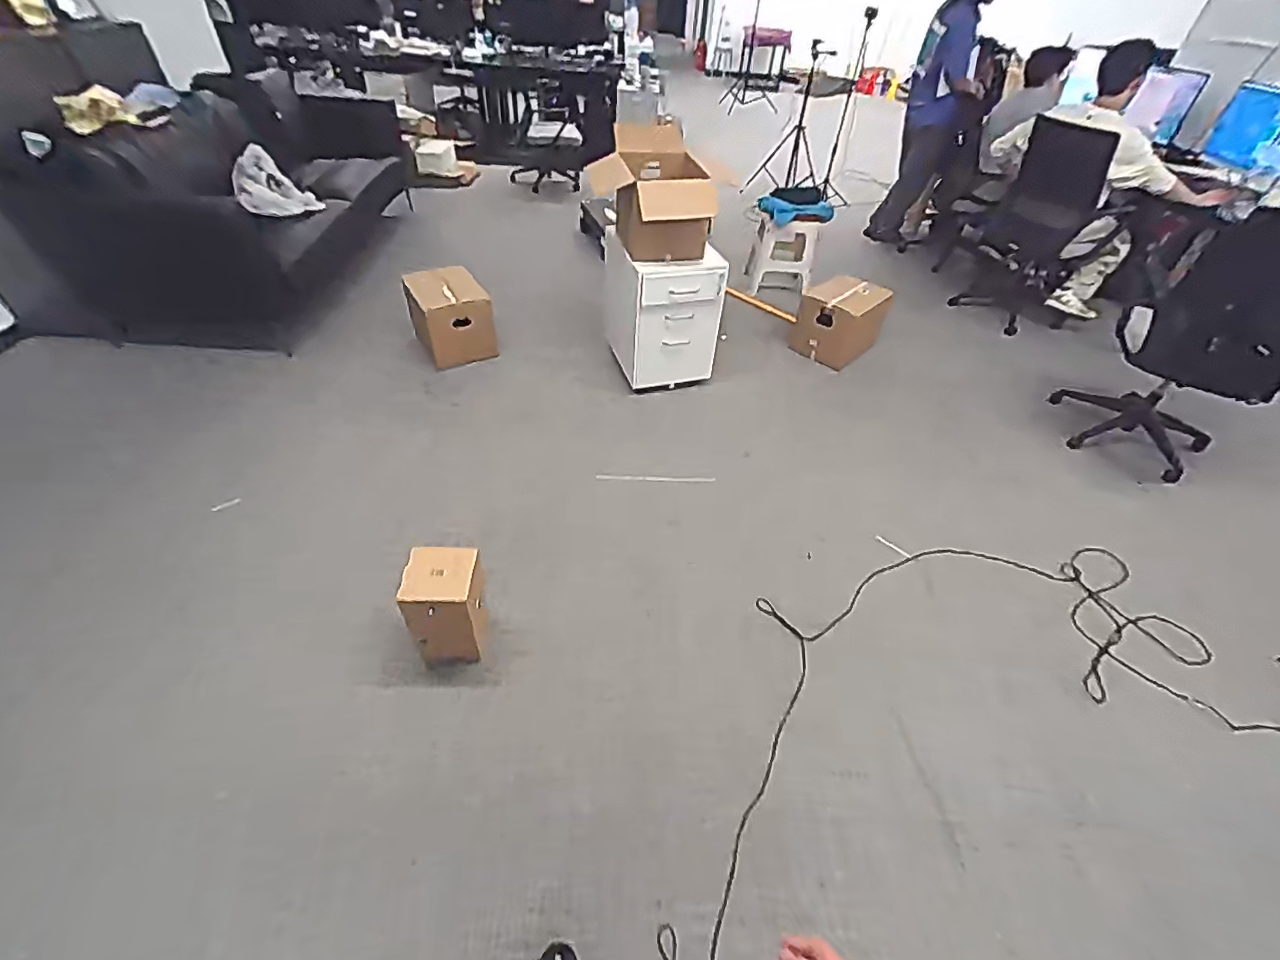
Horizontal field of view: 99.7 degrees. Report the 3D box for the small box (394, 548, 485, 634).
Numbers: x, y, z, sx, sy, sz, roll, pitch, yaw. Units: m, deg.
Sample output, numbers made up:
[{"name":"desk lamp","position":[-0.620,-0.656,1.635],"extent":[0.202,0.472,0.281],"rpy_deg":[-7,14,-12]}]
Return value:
[{"name":"small box","position":[-0.528,0.300,1.448],"extent":[0.179,0.176,0.168],"rpy_deg":[2,45,-4]}]
